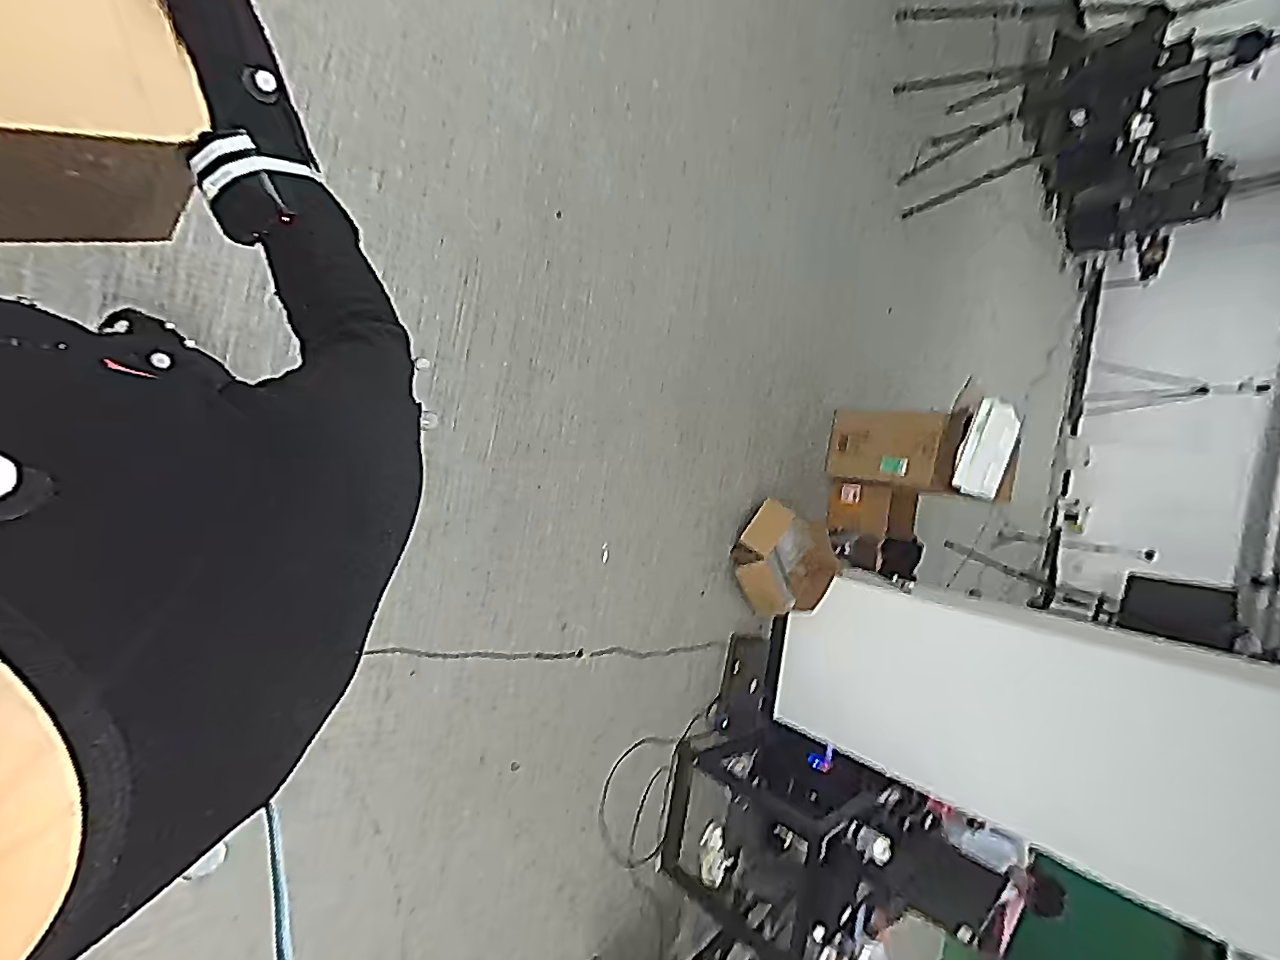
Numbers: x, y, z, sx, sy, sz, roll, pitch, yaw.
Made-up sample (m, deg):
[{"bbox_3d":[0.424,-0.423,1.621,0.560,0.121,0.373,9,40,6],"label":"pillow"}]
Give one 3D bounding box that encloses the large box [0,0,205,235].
[{"bbox_3d":[-0.595,-0.350,0.338,0.408,0.320,0.320,-26,112,-42],"label":"large box"}]
